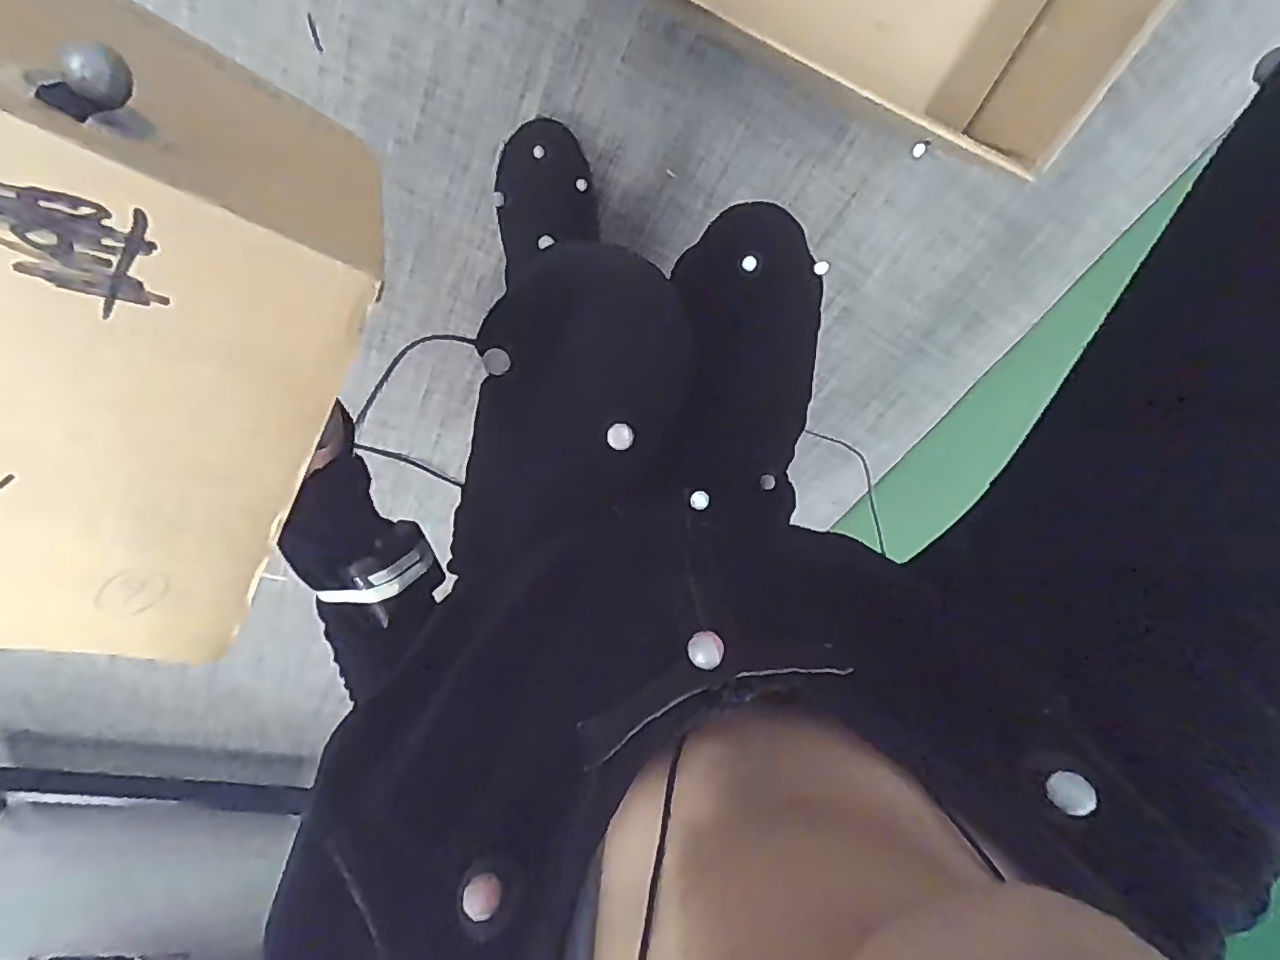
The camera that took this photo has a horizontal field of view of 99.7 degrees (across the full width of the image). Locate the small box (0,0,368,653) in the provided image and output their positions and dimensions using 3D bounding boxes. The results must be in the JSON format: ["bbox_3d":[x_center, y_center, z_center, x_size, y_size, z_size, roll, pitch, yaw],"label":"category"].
[{"bbox_3d":[-0.203,-0.069,0.178,0.168,0.176,0.179,18,120,-38],"label":"small box"}]
